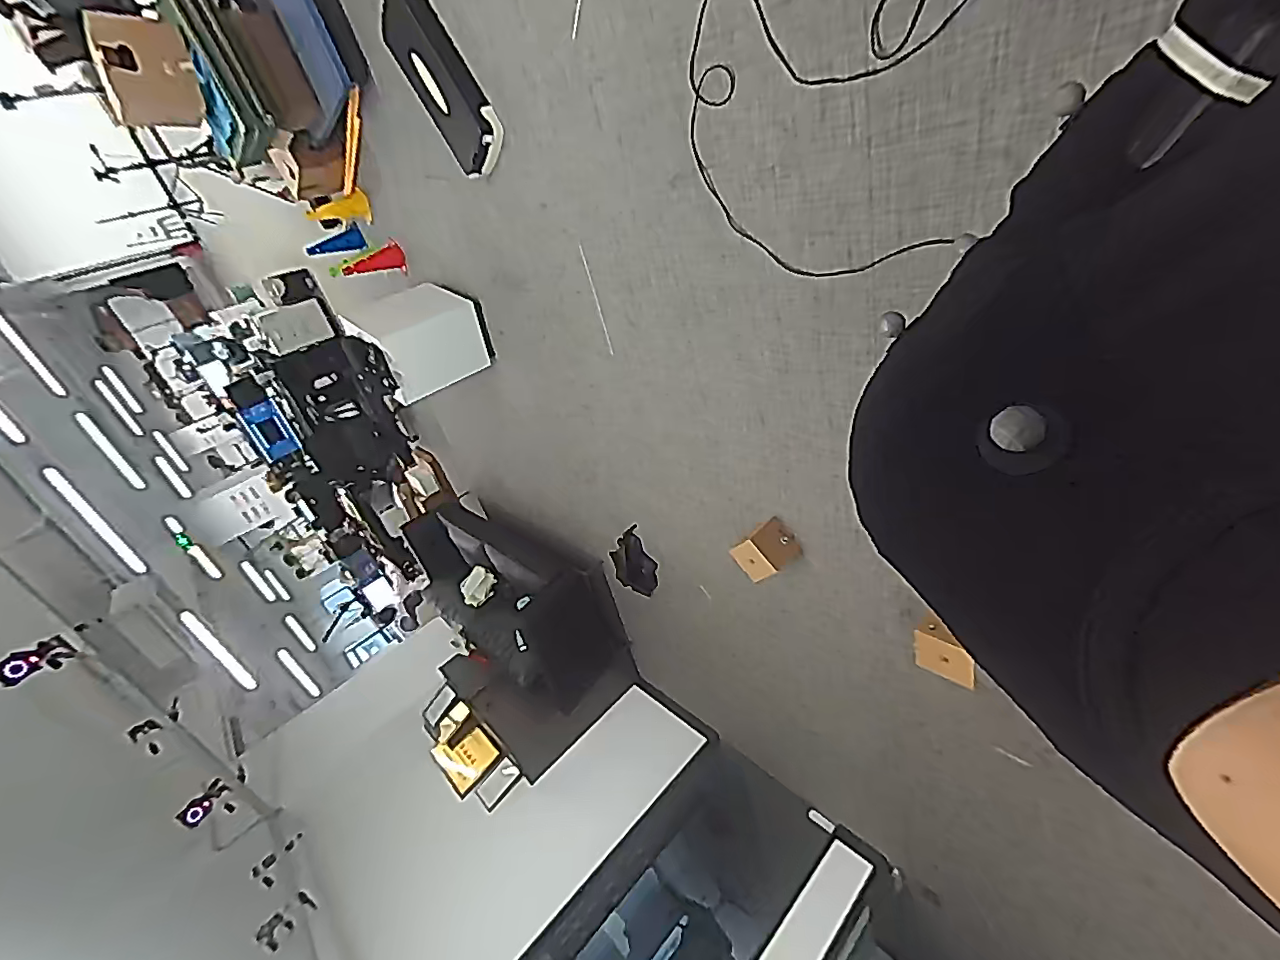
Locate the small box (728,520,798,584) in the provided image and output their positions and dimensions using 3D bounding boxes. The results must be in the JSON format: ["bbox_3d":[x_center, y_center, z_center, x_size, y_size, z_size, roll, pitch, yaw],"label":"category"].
[{"bbox_3d":[0.493,0.287,2.158,0.168,0.176,0.179,50,149,6],"label":"small box"}]

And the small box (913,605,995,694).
[{"bbox_3d":[0.981,0.519,1.688,0.179,0.176,0.168,18,134,48],"label":"small box"}]
